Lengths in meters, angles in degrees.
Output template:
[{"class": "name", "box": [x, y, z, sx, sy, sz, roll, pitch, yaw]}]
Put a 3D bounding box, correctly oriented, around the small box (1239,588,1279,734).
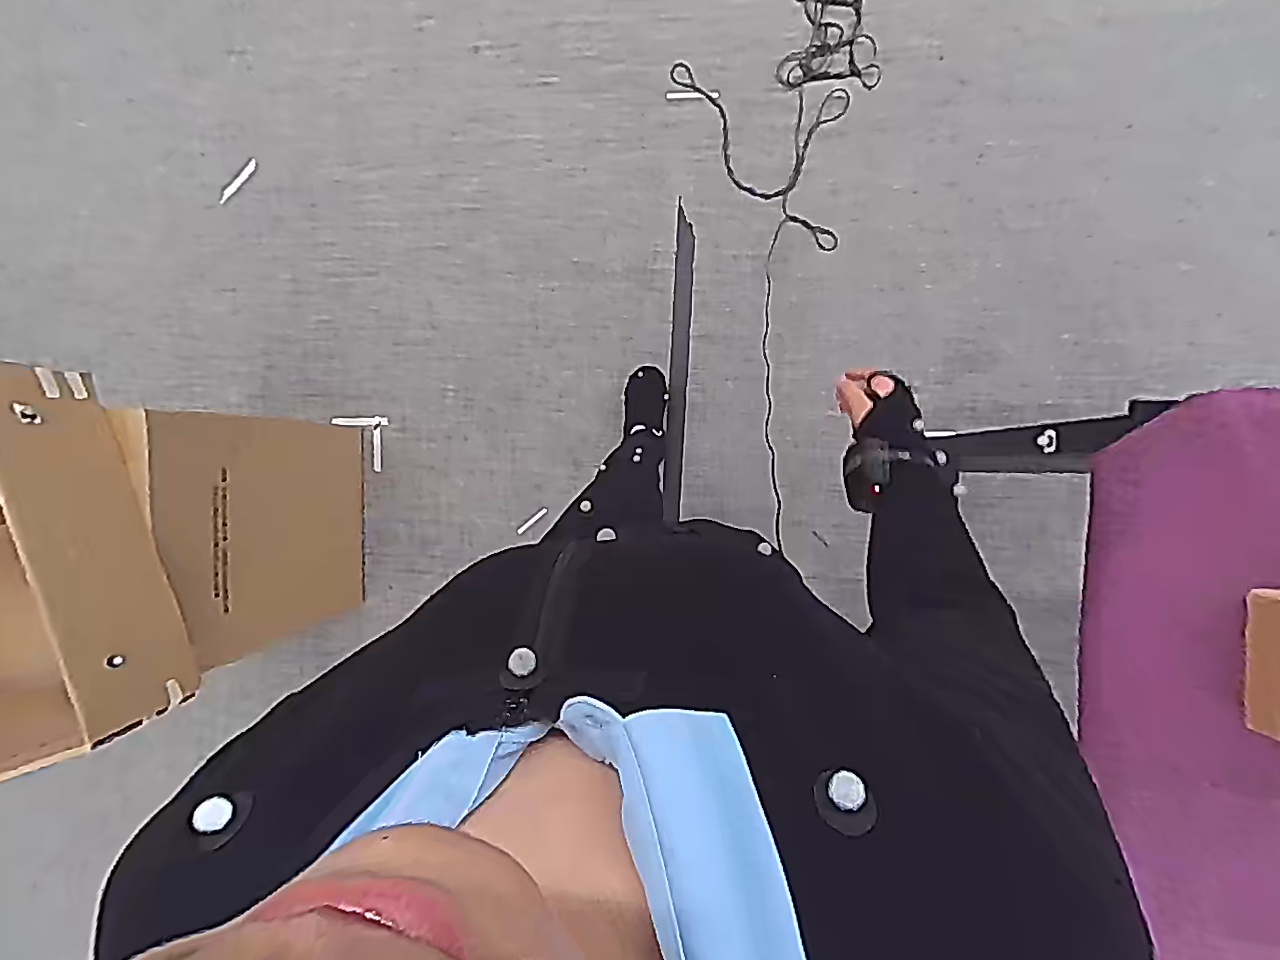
[{"class": "small box", "box": [0.826, 0.220, 0.591, 0.168, 0.176, 0.179, -1, 92, 6]}]
